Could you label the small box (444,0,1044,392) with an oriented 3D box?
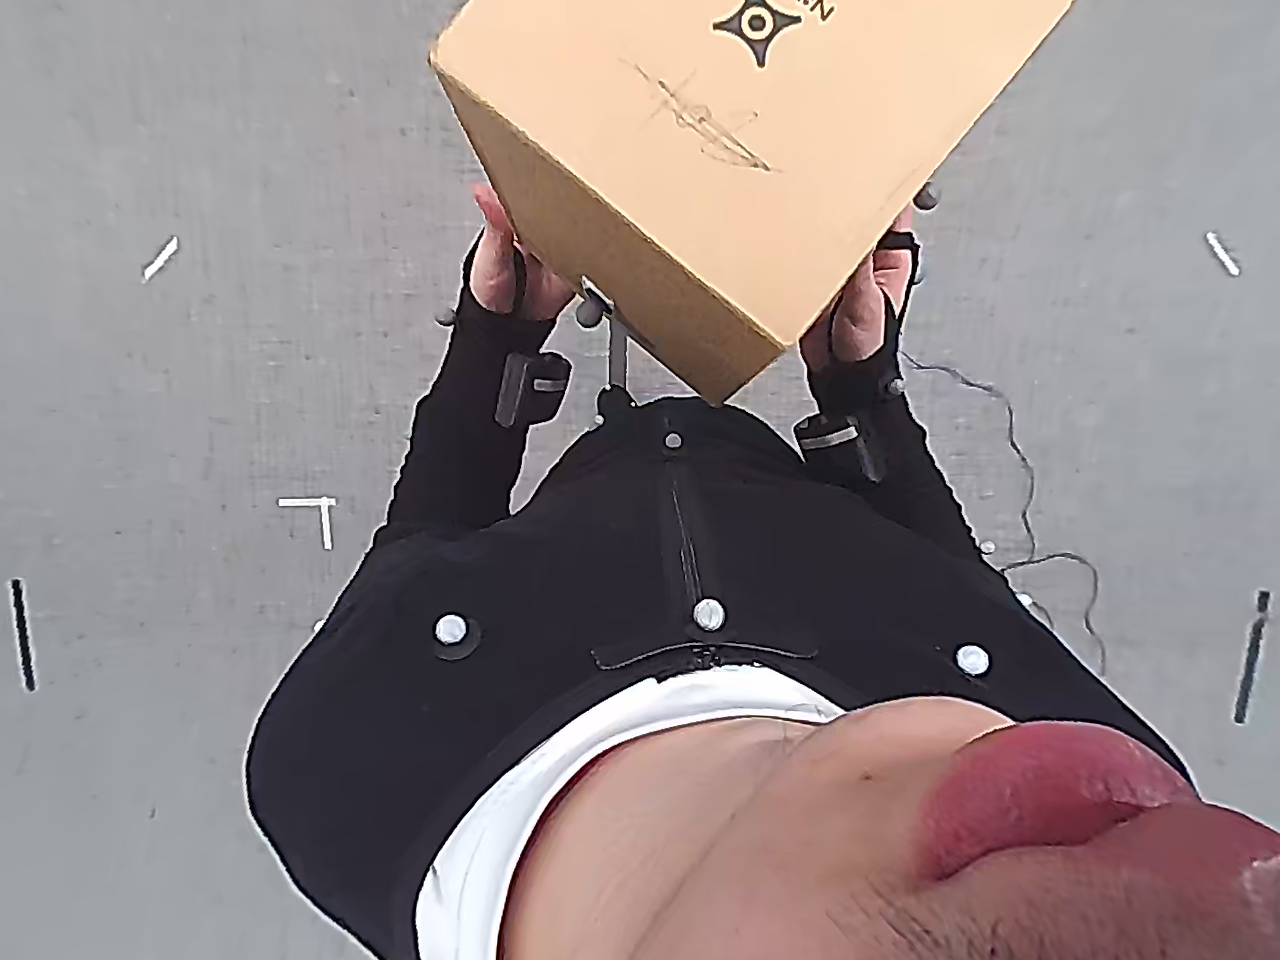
[{"bbox_3d":[0.039,-0.170,0.283,0.168,0.176,0.179,38,91,-1],"label":"small box"}]
